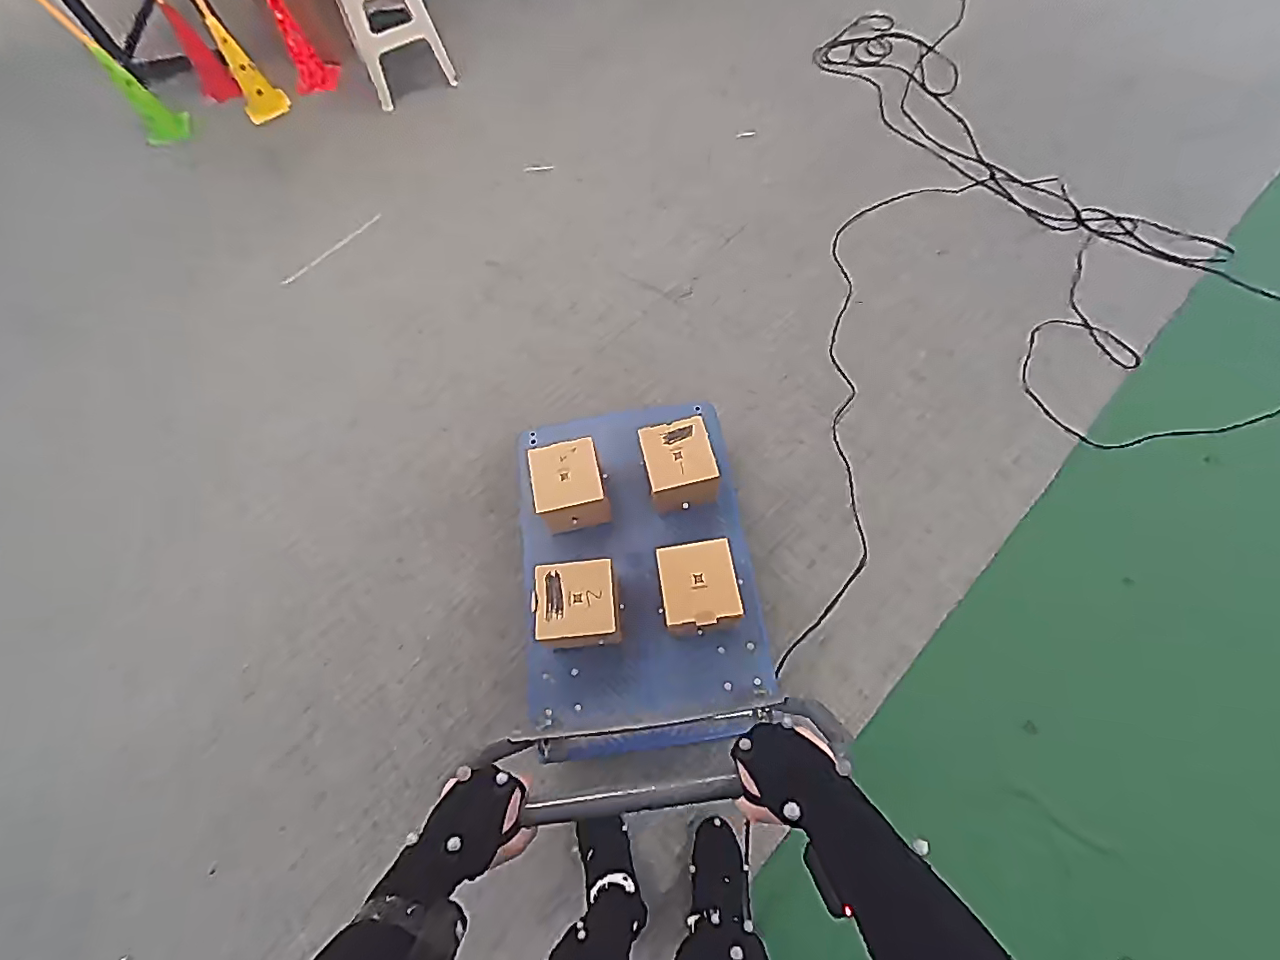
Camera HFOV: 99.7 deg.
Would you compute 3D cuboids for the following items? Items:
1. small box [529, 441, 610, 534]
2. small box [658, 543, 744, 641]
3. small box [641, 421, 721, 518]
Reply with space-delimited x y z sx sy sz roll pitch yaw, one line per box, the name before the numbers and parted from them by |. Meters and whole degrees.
small box | -0.175 0.027 1.379 0.168 0.176 0.179 -12 66 -2
small box | 0.134 0.263 1.254 0.168 0.176 0.179 -9 66 0
small box | 0.100 -0.023 1.382 0.168 0.176 0.179 -13 66 -1
